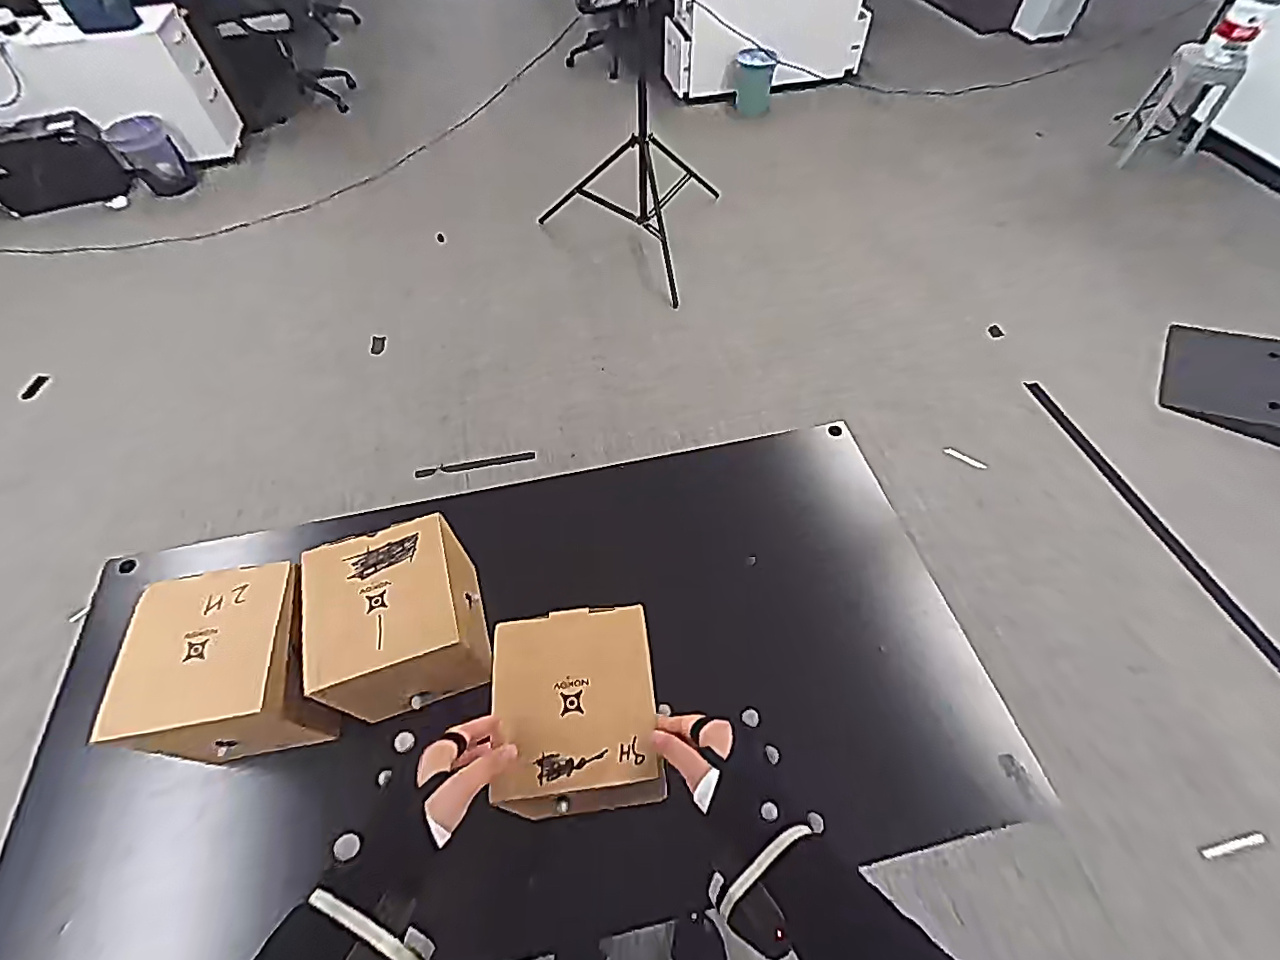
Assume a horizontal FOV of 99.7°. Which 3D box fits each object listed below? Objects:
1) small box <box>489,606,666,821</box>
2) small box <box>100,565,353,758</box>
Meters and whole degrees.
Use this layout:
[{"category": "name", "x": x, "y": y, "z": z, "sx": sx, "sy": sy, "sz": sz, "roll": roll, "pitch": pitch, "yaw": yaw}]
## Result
[{"category": "small box", "x": -0.063, "y": 0.267, "z": 0.614, "sx": 0.168, "sy": 0.176, "sz": 0.179, "roll": -8, "pitch": 52, "yaw": -1}, {"category": "small box", "x": -0.477, "y": 0.229, "z": 0.661, "sx": 0.168, "sy": 0.176, "sz": 0.179, "roll": -9, "pitch": 55, "yaw": -5}]
